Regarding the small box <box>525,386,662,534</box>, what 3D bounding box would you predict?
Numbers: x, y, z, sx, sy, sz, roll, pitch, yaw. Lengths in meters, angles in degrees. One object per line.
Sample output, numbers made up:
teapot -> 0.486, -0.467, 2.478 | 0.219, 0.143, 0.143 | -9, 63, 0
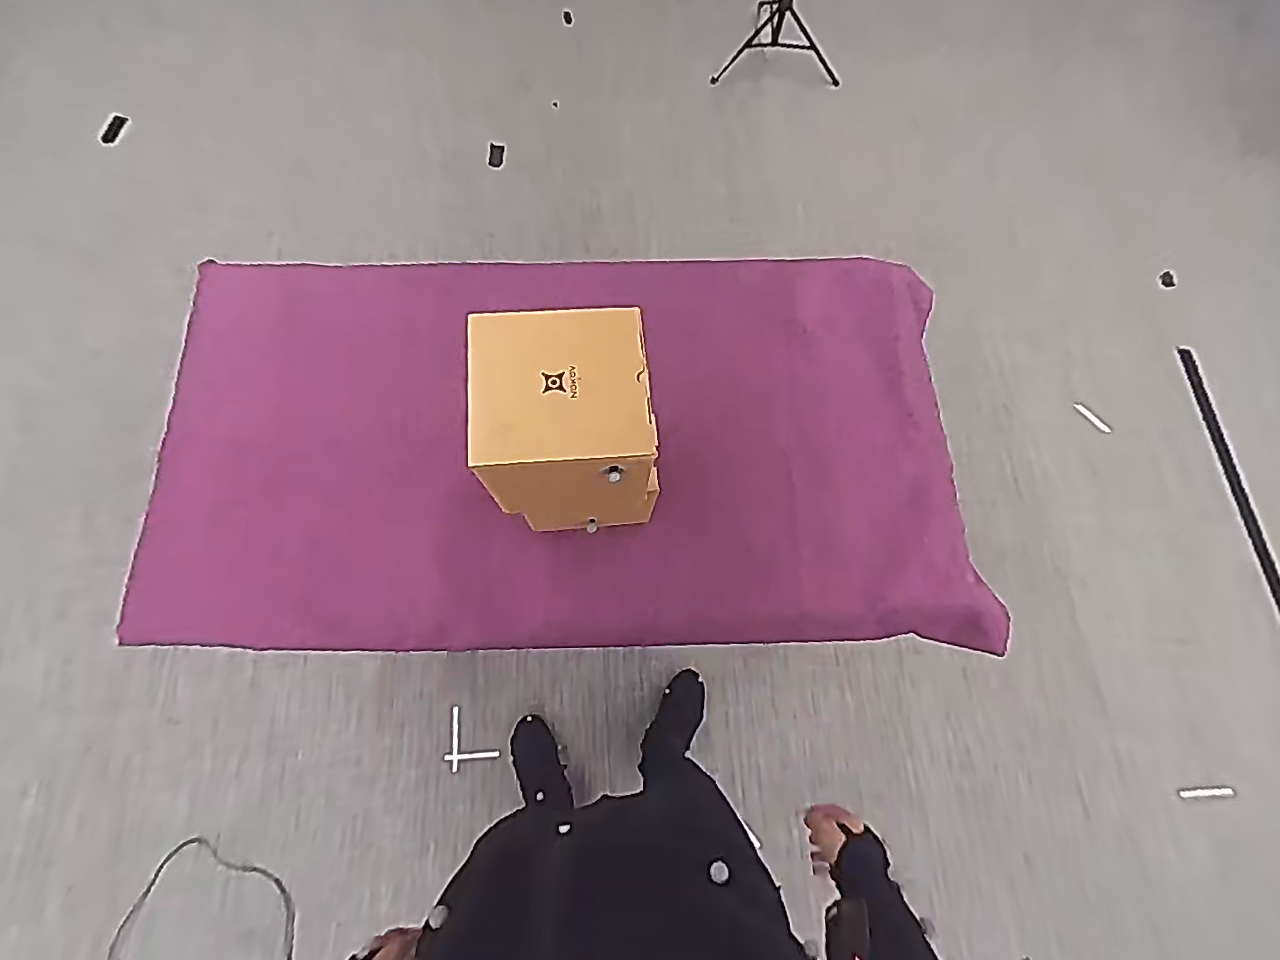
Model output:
small box -> -0.072, -0.026, 0.759 | 0.179, 0.176, 0.168 | -4, 72, -6

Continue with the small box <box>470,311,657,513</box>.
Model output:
small box -> -0.080, -0.065, 0.599 | 0.179, 0.176, 0.168 | -4, 72, -5
